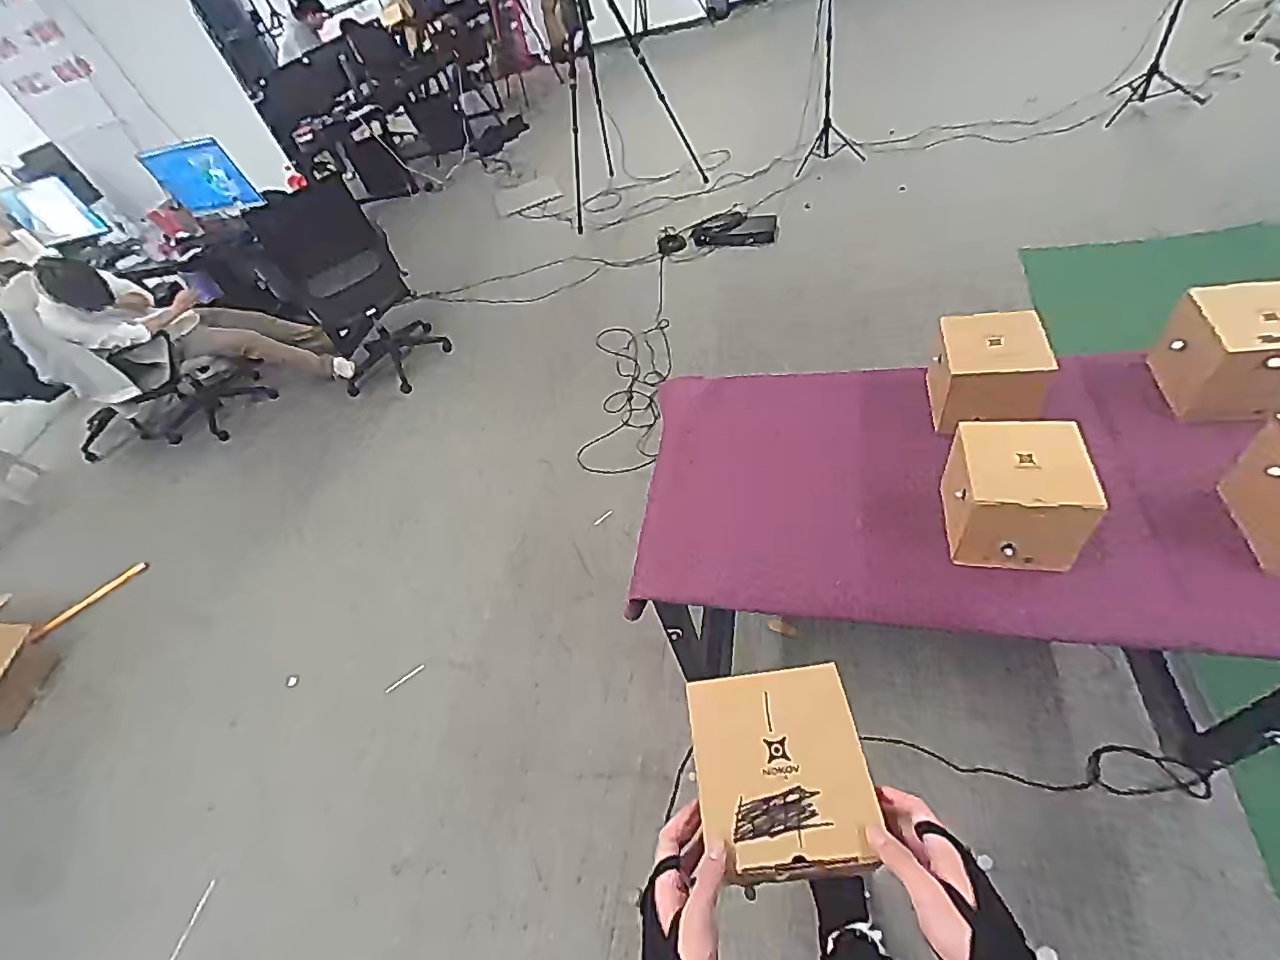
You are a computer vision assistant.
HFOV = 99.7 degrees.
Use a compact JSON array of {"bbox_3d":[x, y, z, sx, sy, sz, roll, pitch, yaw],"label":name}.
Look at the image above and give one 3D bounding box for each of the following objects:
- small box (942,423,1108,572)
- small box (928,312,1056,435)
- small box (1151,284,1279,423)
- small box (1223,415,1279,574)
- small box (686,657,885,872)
[{"bbox_3d":[0.607,0.026,0.882,0.168,0.176,0.179,2,50,18],"label":"small box"},{"bbox_3d":[0.676,-0.205,1.063,0.168,0.176,0.179,1,52,19],"label":"small box"},{"bbox_3d":[1.058,-0.221,0.953,0.168,0.176,0.179,-1,51,19],"label":"small box"},{"bbox_3d":[0.991,0.025,0.758,0.168,0.176,0.179,1,49,20],"label":"small box"},{"bbox_3d":[0.150,0.320,0.599,0.168,0.176,0.179,-10,49,6],"label":"small box"}]
